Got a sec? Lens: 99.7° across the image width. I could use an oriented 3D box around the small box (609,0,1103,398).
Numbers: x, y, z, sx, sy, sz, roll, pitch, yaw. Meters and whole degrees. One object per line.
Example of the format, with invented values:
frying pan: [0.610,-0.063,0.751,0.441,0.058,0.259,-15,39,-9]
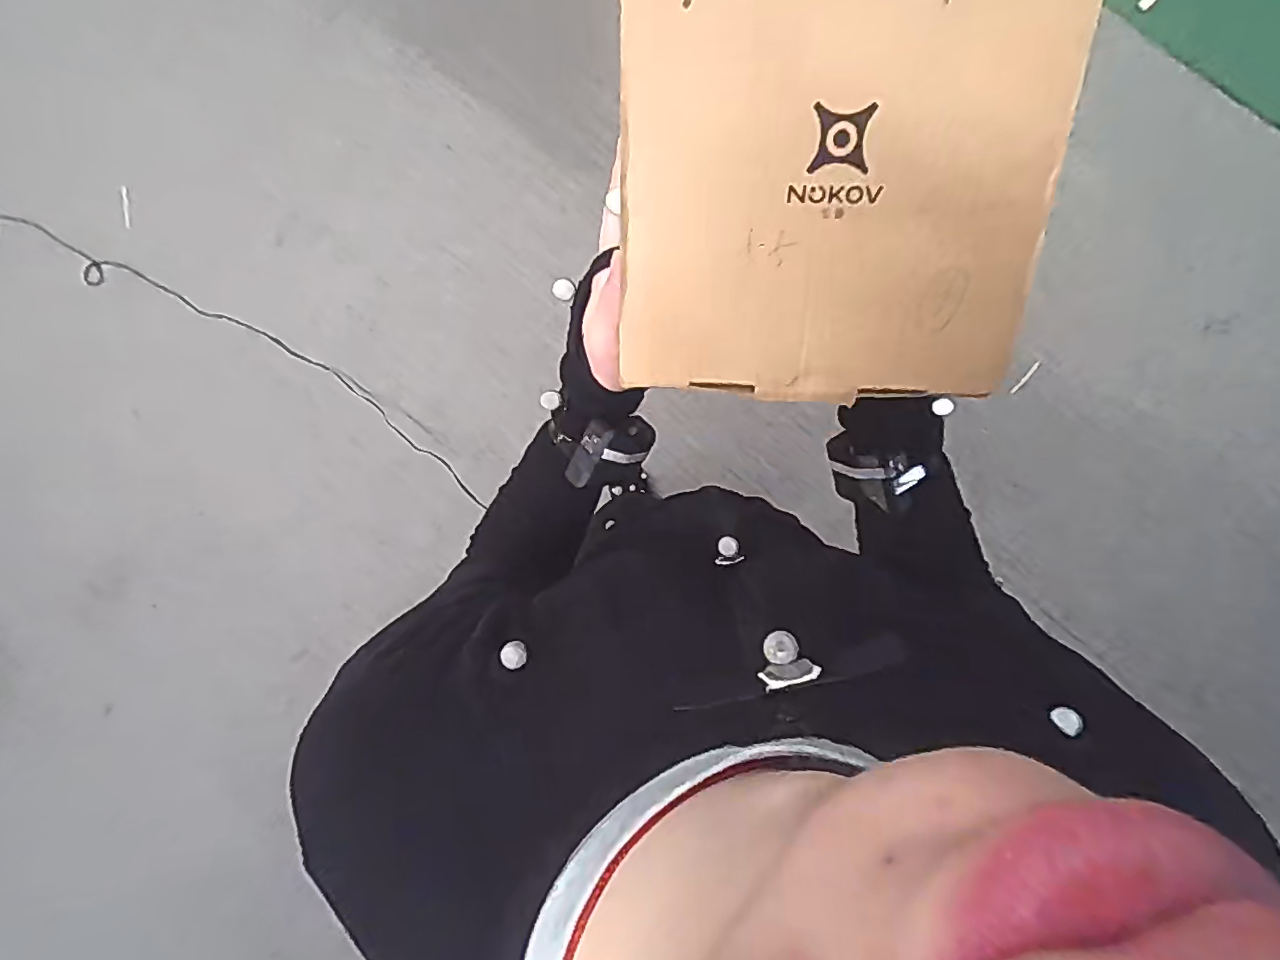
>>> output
small box: [0.072,-0.148,0.273,0.168,0.176,0.179,1,112,0]
